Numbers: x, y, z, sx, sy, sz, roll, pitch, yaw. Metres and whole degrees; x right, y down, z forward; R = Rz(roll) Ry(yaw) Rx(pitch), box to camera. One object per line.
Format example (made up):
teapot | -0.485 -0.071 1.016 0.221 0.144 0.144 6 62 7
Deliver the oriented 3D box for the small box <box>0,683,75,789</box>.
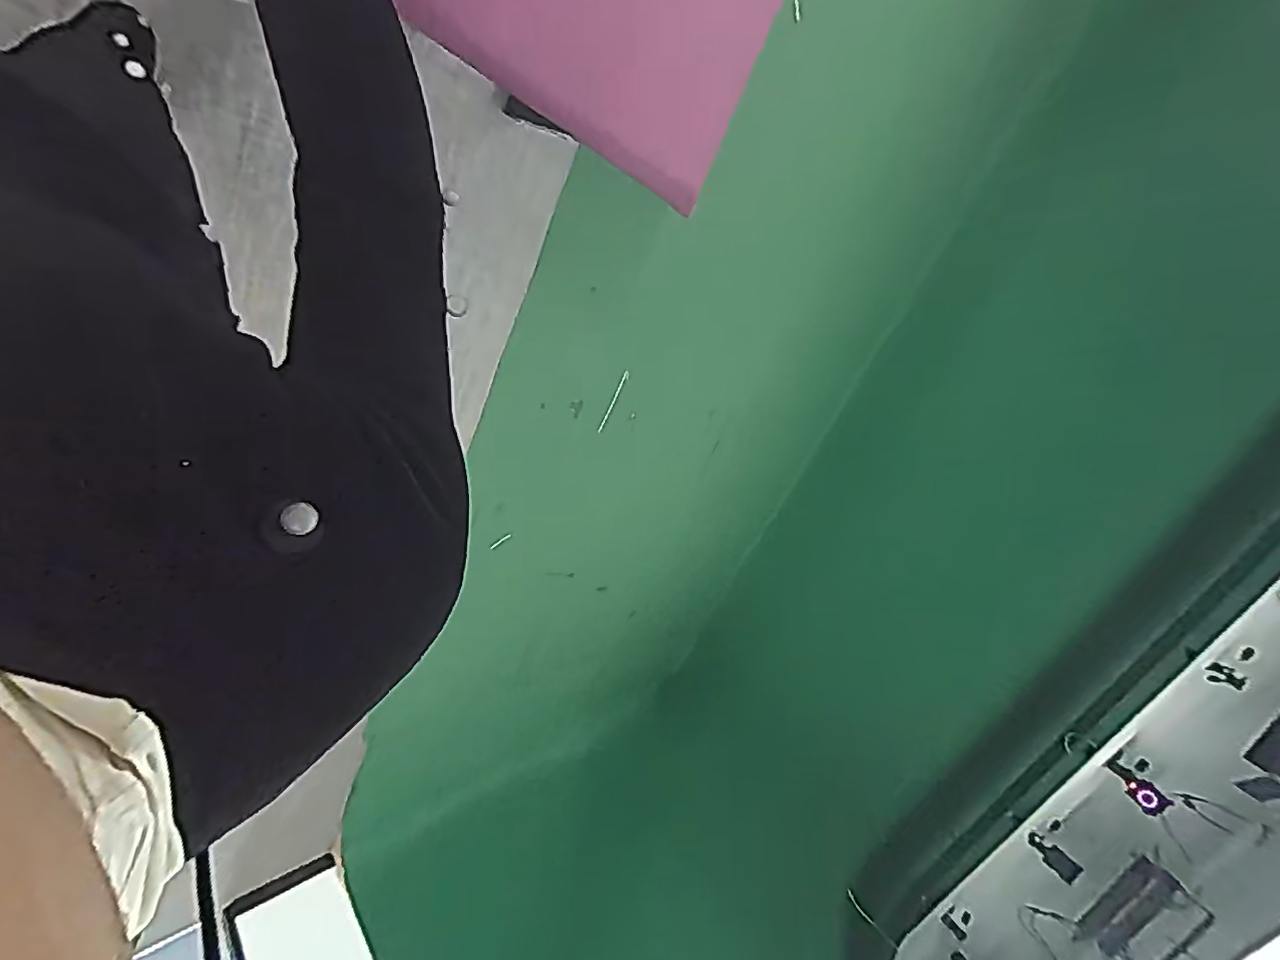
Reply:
small box | -1.613 0.667 1.408 0.168 0.176 0.179 5 118 -54

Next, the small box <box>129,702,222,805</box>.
small box | -1.339 0.777 1.553 0.168 0.176 0.179 7 117 -53
